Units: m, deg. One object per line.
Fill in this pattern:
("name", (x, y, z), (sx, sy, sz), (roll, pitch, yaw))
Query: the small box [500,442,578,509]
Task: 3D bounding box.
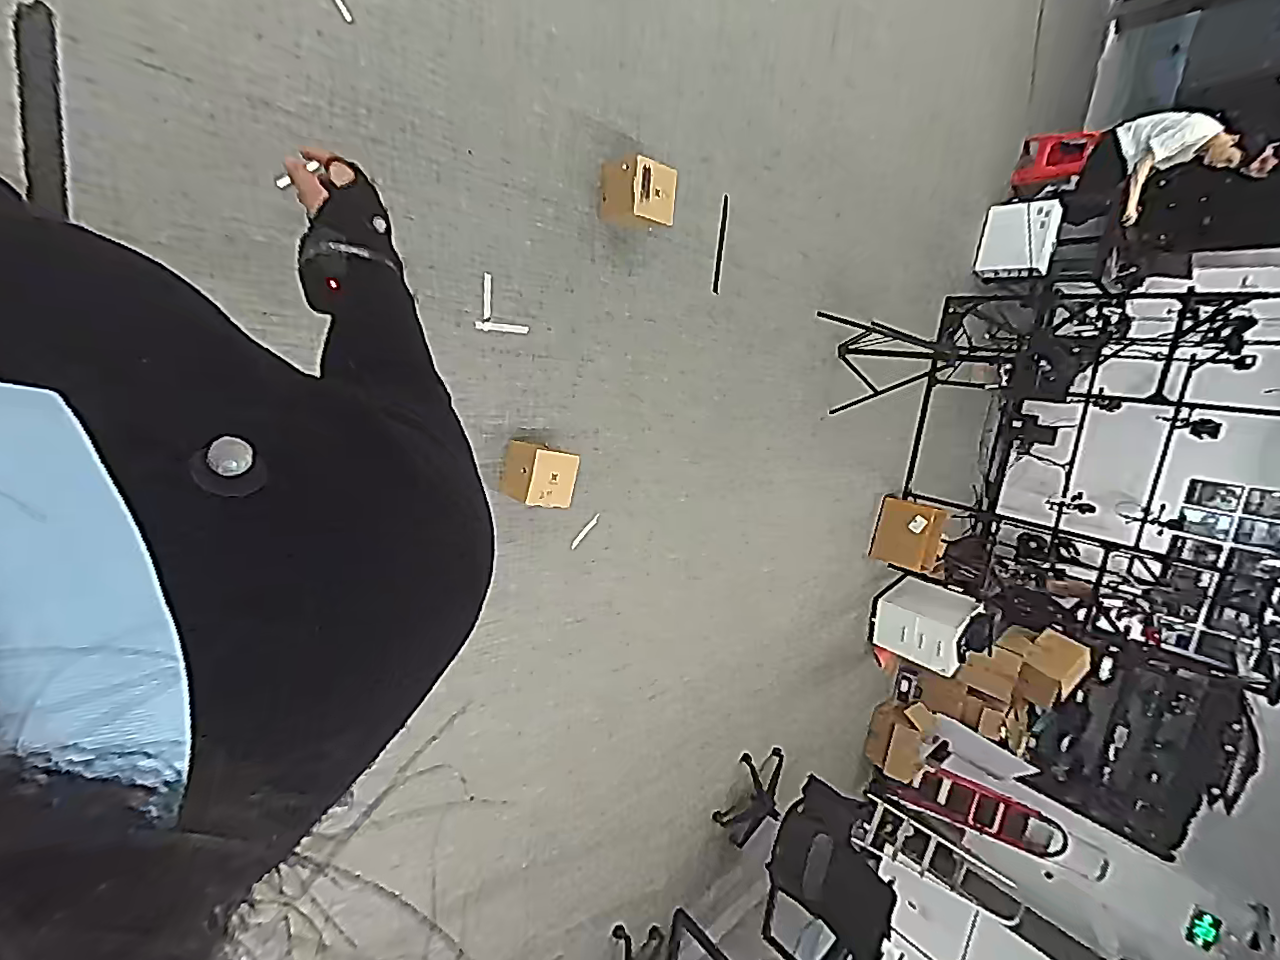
("small box", (-0.326, -0.017, 1.718), (0.168, 0.176, 0.179), (8, 97, -44))
